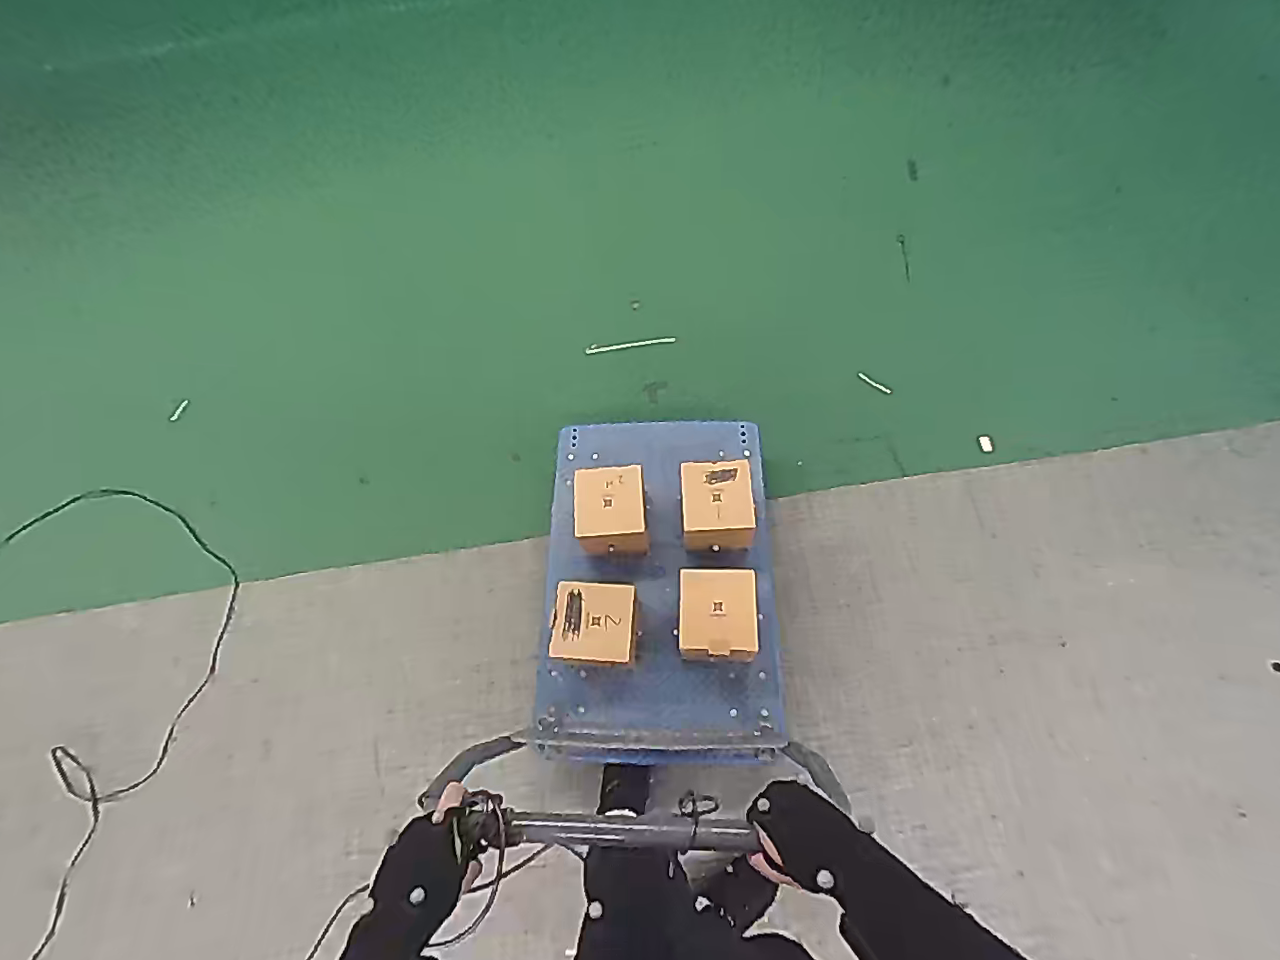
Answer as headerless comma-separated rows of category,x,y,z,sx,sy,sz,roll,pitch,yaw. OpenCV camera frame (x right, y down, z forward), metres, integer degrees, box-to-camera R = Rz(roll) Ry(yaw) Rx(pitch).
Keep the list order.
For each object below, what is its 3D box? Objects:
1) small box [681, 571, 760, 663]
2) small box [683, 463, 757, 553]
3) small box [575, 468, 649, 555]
small box,0.177,0.316,1.233,0.168,0.176,0.179,0,67,6
small box,0.191,0.073,1.339,0.168,0.176,0.179,-3,67,5
small box,-0.065,0.087,1.357,0.168,0.176,0.179,-4,66,3
